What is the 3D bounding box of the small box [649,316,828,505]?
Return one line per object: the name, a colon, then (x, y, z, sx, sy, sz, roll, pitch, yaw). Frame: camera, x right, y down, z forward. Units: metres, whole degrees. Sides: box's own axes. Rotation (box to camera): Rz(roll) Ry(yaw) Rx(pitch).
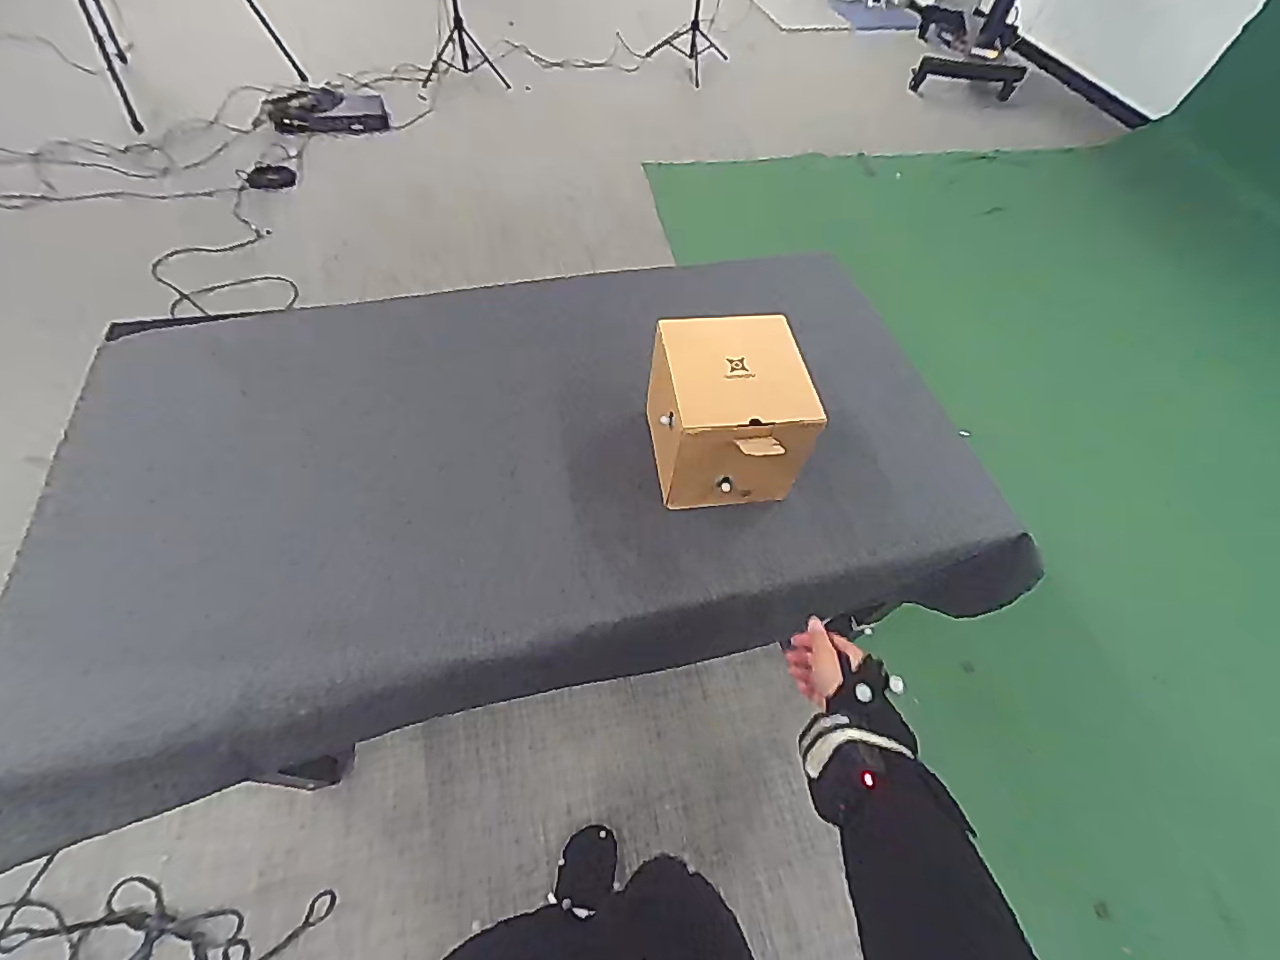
small box: (0.109, -0.087, 0.696, 0.168, 0.176, 0.179, -5, 57, -8)
